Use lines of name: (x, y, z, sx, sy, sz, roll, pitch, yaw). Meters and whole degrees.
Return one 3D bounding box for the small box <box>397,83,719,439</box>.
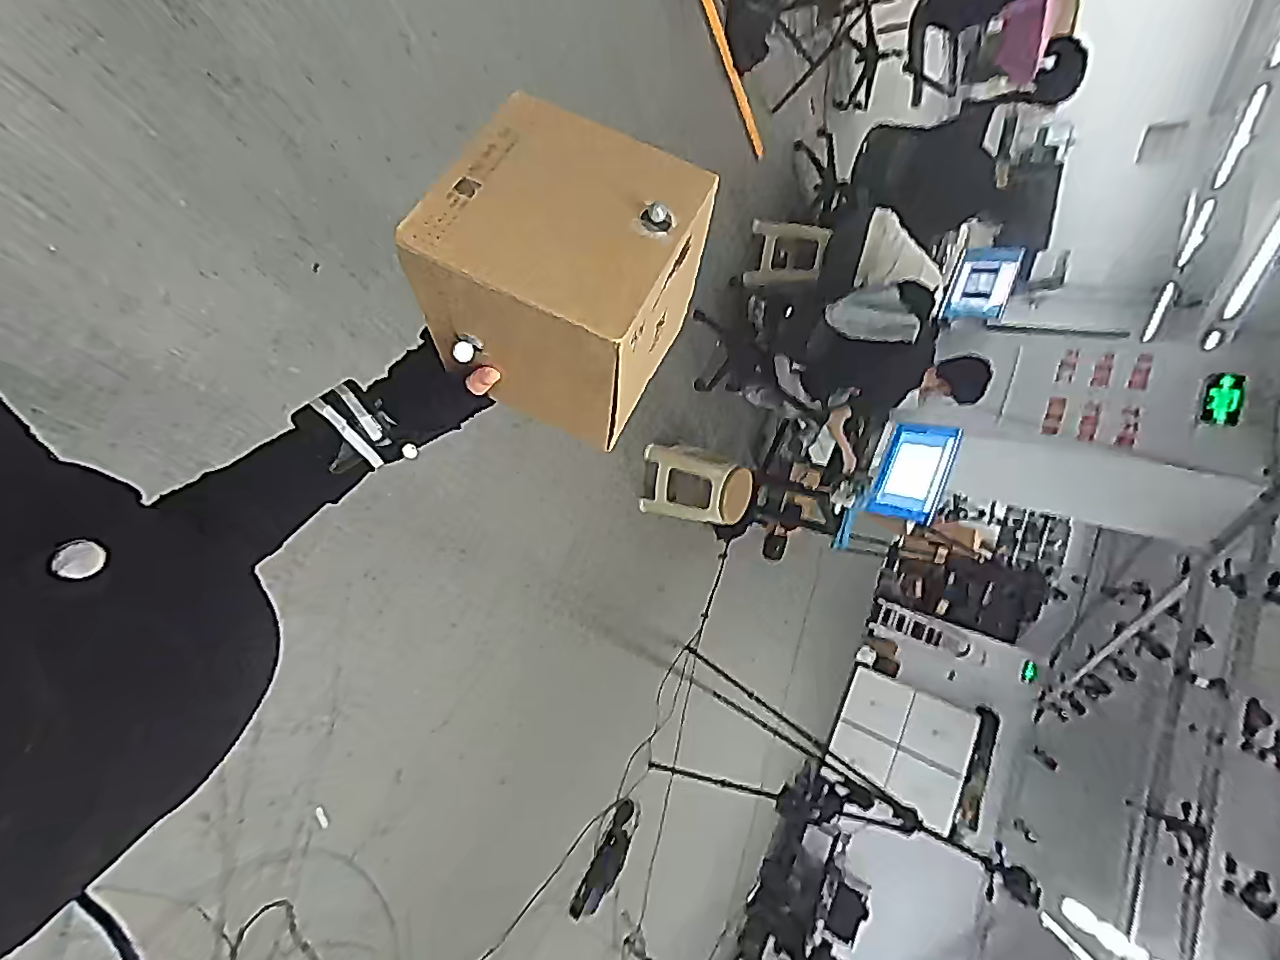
small box: (-0.061, -0.166, 0.441, 0.179, 0.176, 0.168, 110, 6, -70)
